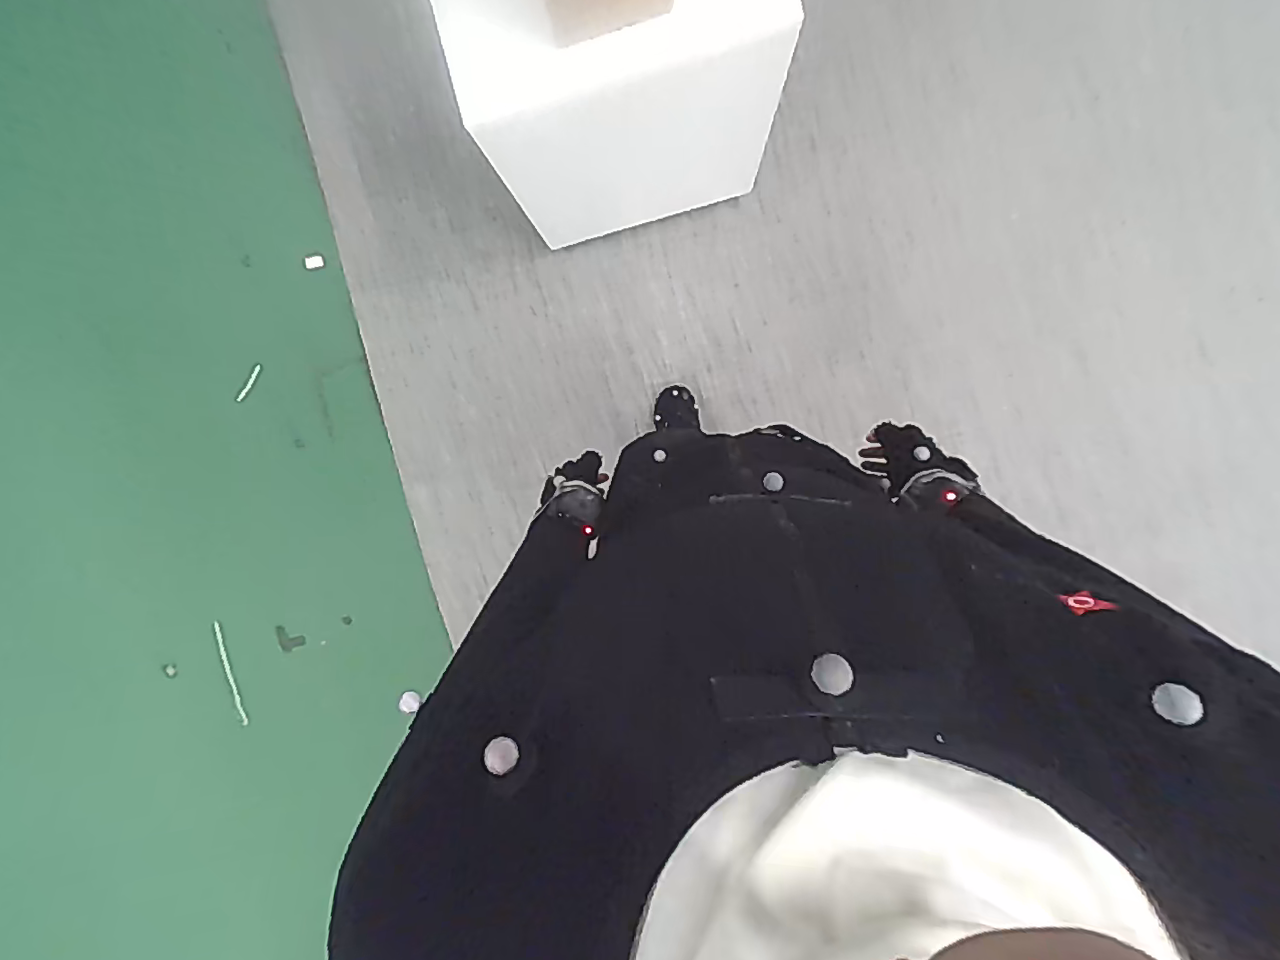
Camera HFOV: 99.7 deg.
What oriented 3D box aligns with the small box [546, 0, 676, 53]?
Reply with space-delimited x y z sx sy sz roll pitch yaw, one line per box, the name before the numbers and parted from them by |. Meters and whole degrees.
small box | -0.054 -0.709 0.701 0.179 0.176 0.168 -14 94 4
